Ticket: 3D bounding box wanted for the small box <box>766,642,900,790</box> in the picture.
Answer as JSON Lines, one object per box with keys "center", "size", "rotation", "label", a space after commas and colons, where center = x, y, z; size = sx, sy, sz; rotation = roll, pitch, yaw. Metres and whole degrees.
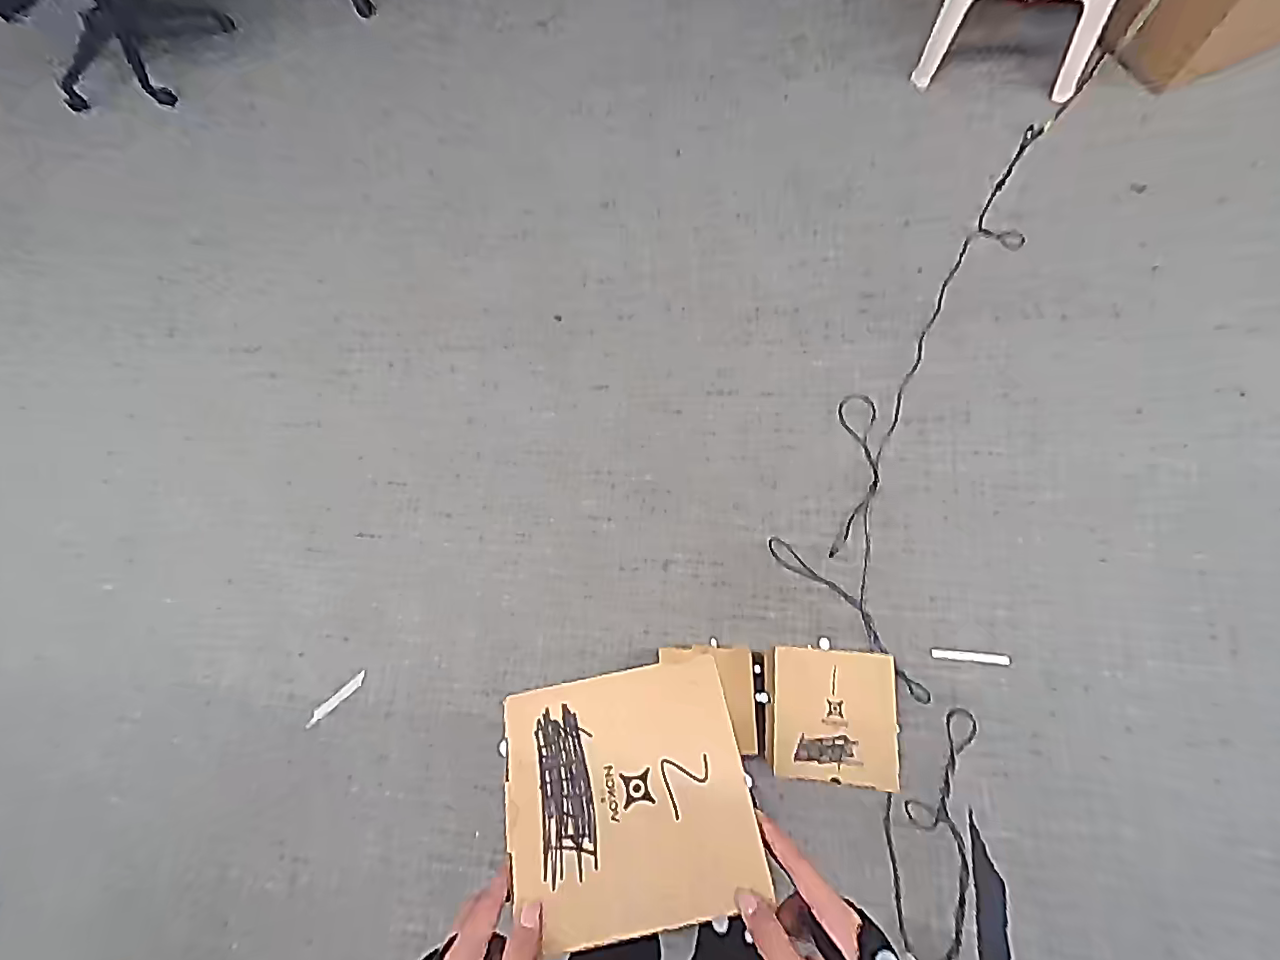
{"center": [0.282, 0.344, 0.819], "size": [0.168, 0.176, 0.179], "rotation": [2, 72, 10], "label": "small box"}
